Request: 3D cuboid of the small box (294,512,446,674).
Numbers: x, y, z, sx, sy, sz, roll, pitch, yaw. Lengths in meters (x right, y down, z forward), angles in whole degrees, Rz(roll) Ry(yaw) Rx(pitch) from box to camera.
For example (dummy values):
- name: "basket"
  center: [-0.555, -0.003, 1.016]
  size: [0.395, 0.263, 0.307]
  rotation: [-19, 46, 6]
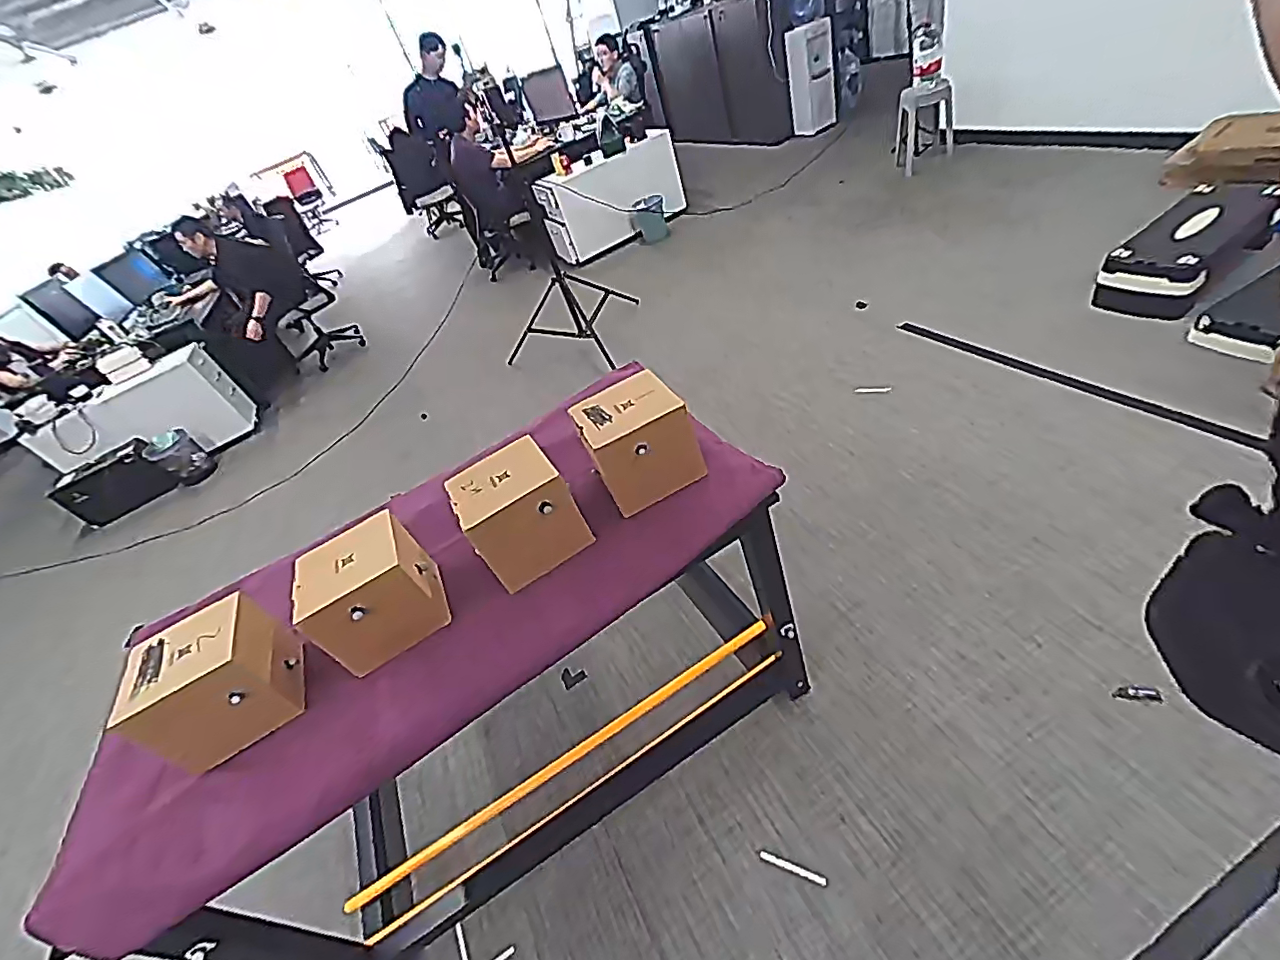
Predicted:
- name: "small box"
  center: [-0.455, 0.194, 0.931]
  size: [0.179, 0.176, 0.168]
  rotation: [-32, 40, -10]

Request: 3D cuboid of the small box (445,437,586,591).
- name: "small box"
  center: [-0.213, 0.059, 0.960]
  size: [0.179, 0.176, 0.168]
  rotation: [-32, 39, -10]

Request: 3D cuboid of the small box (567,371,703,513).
- name: "small box"
  center: [-0.008, -0.069, 1.003]
  size: [0.179, 0.176, 0.168]
  rotation: [-28, 39, -6]
